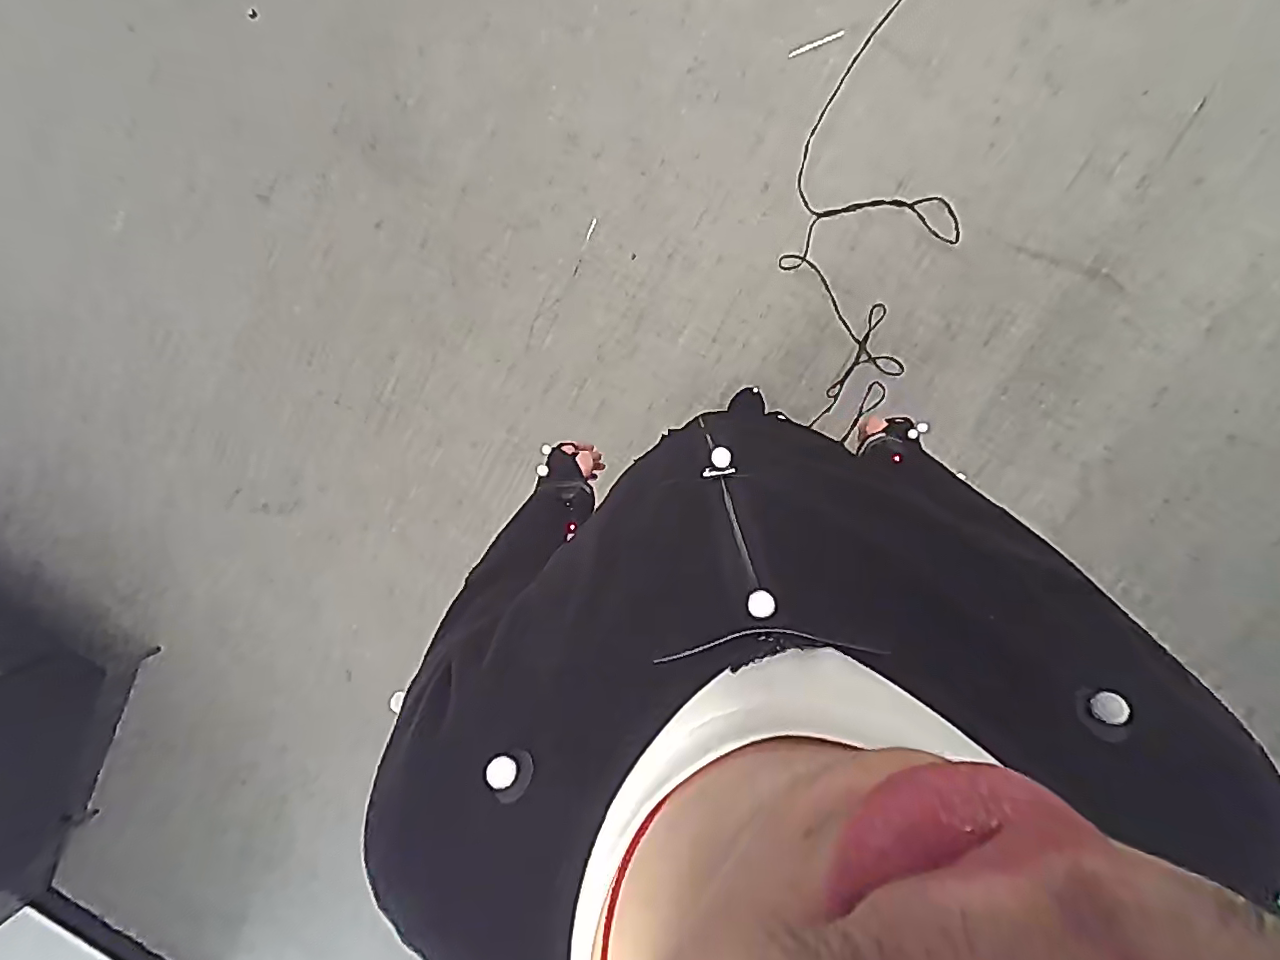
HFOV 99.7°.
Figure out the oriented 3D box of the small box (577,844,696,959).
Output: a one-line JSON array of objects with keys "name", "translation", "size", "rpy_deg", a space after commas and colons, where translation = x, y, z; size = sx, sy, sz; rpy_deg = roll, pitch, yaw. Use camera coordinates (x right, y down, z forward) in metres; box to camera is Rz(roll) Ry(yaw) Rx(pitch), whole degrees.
[{"name": "small box", "translation": [-0.005, 0.860, 1.045], "size": [0.168, 0.176, 0.179], "rpy_deg": [30, 102, 2]}]
